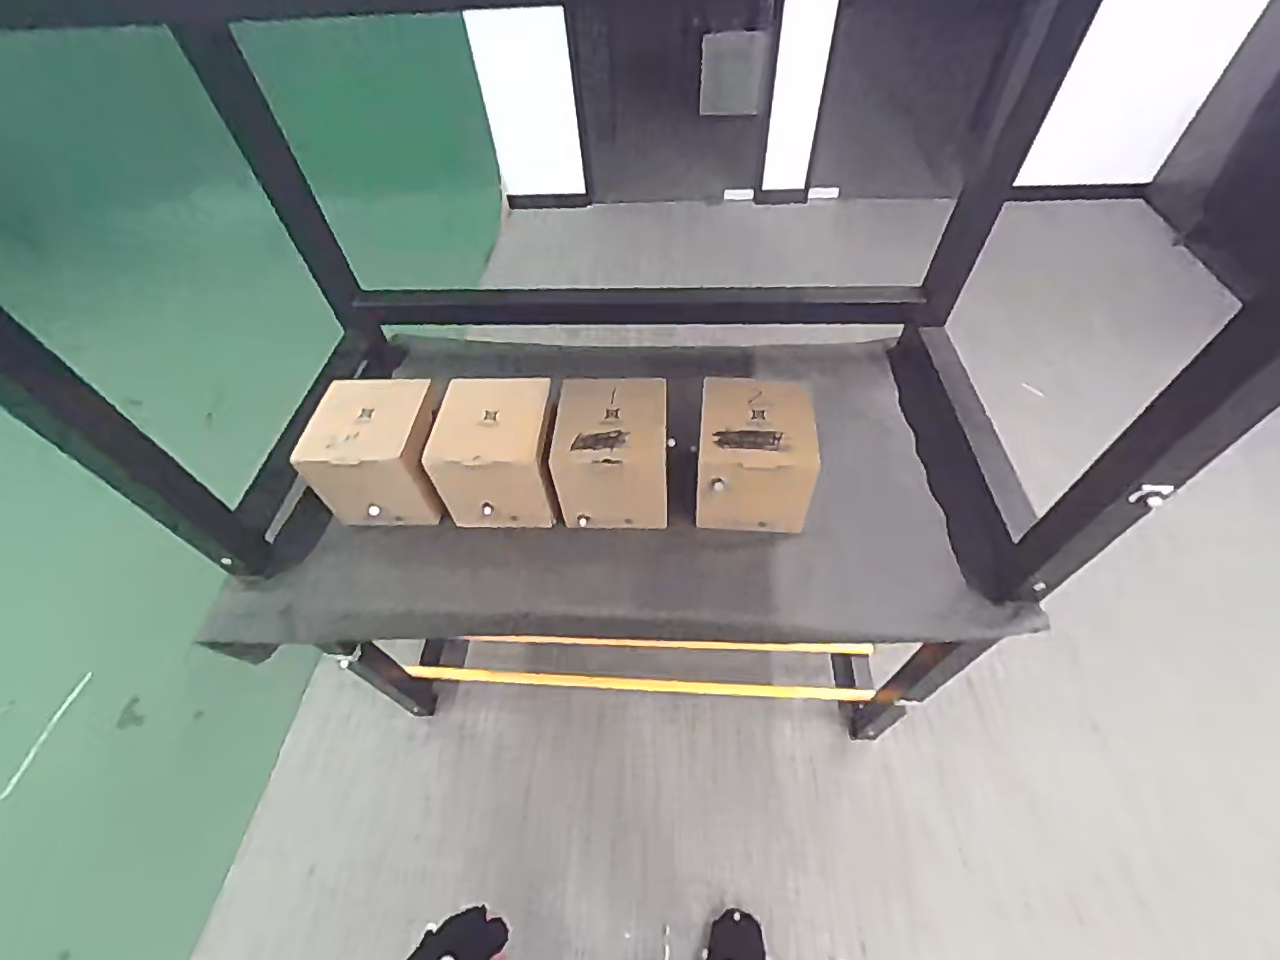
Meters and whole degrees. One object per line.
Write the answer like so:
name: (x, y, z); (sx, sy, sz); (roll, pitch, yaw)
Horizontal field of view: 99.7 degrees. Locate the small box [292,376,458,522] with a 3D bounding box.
small box: (-0.414, -0.051, 0.886); (0.168, 0.176, 0.179); (0, 52, 3)
